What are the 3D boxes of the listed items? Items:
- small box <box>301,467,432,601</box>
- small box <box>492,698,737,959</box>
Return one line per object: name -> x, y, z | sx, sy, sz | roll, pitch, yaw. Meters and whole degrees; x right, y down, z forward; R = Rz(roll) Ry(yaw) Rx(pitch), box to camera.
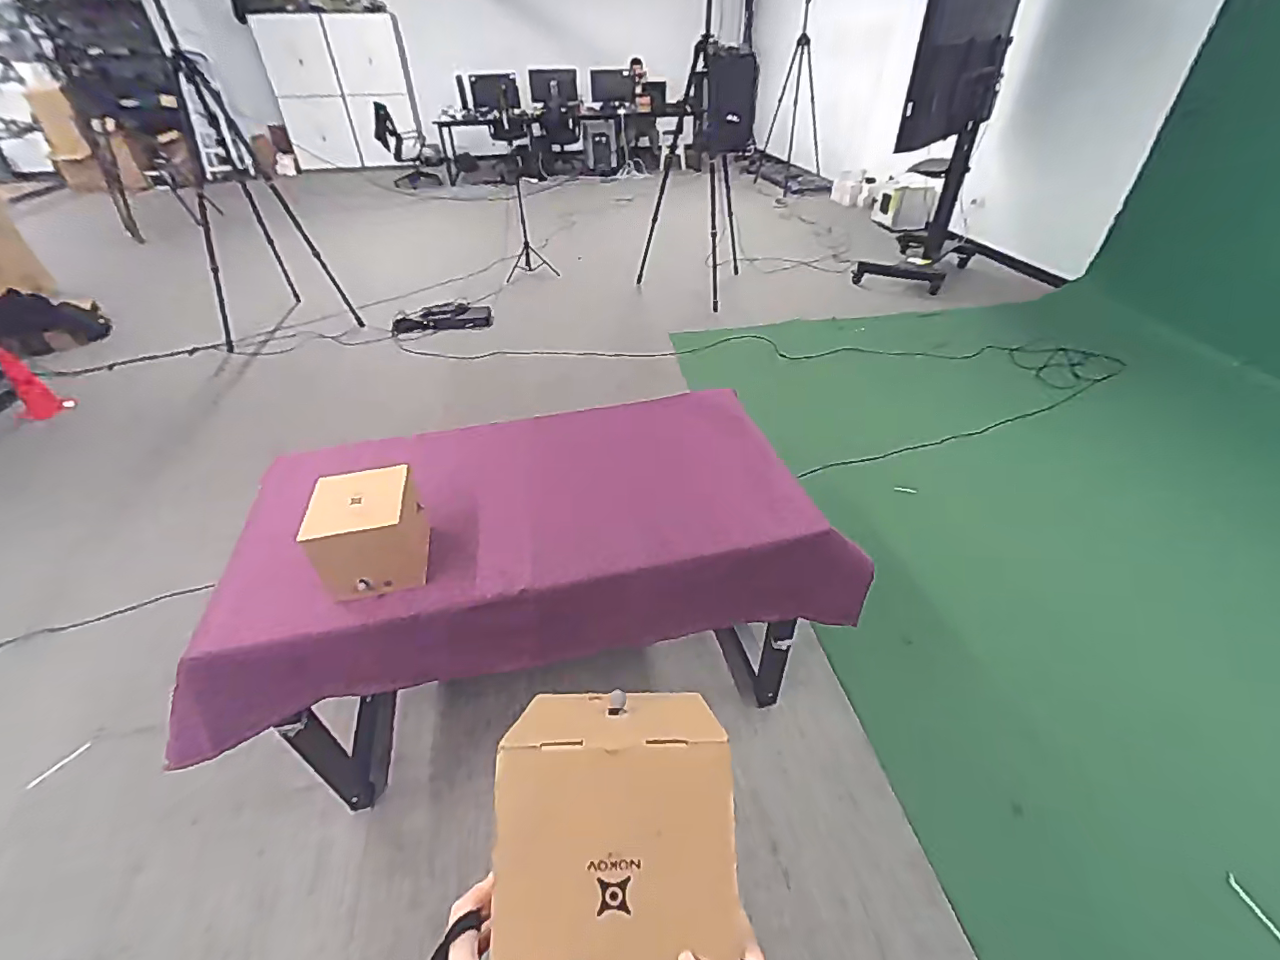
small box -> -0.504, 0.100, 1.027 | 0.168, 0.176, 0.179 | -9, 41, -9
small box -> -0.019, 0.283, 0.447 | 0.168, 0.176, 0.179 | -1, 79, -1
